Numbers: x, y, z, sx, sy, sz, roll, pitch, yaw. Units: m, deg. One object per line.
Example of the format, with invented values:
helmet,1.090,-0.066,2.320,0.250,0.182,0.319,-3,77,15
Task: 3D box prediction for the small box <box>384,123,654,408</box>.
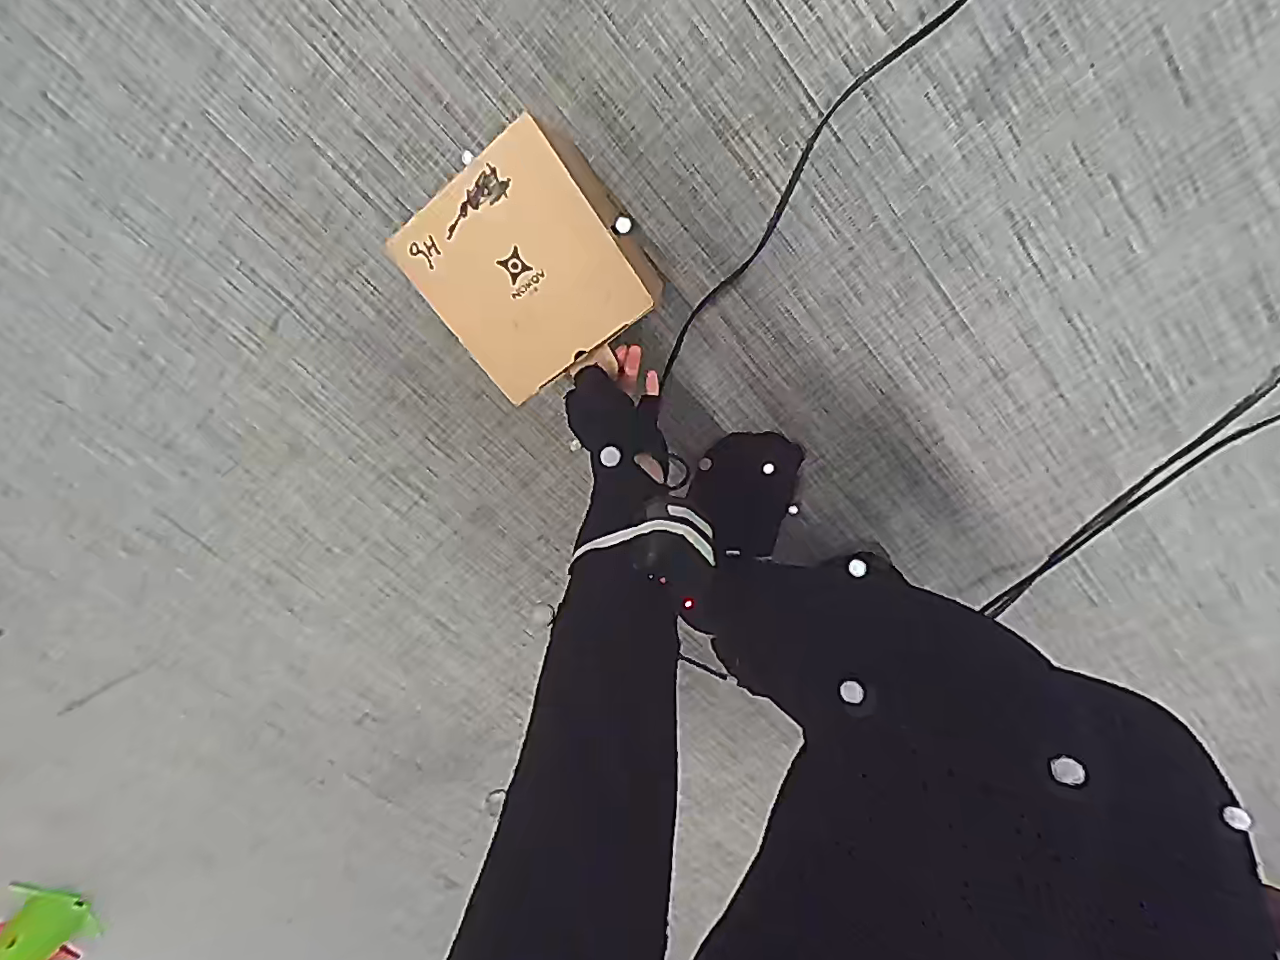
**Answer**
small box,-0.097,-0.206,0.530,0.168,0.176,0.179,-31,110,18
